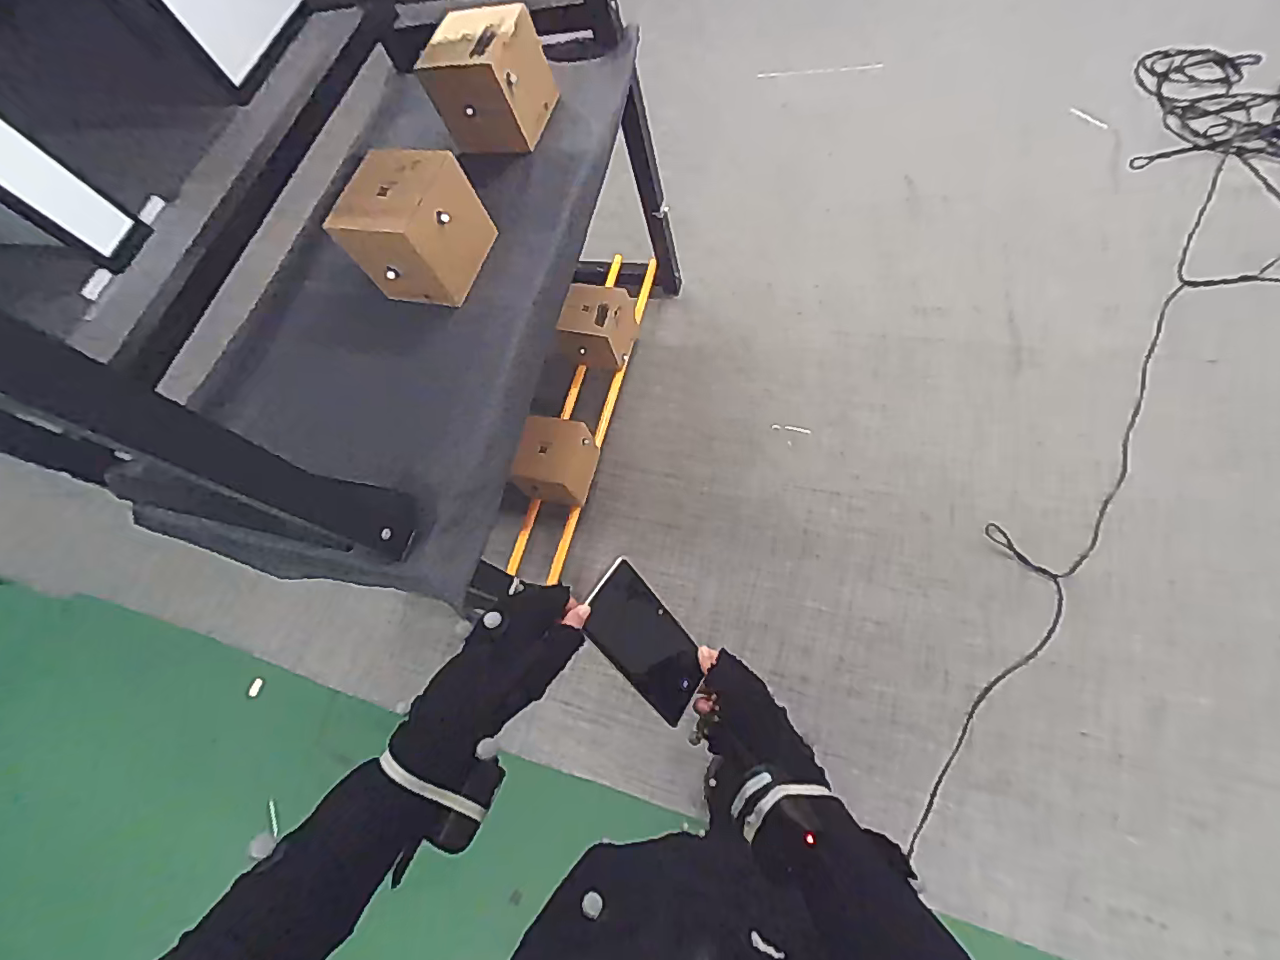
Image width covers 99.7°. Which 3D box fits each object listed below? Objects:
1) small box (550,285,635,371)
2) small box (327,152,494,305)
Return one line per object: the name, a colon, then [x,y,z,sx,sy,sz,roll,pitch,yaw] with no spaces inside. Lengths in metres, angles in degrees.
small box: [-0.128,-0.434,1.565,0.179,0.176,0.168,13,70,18]
small box: [-0.378,-0.424,0.926,0.168,0.176,0.179,12,70,18]
